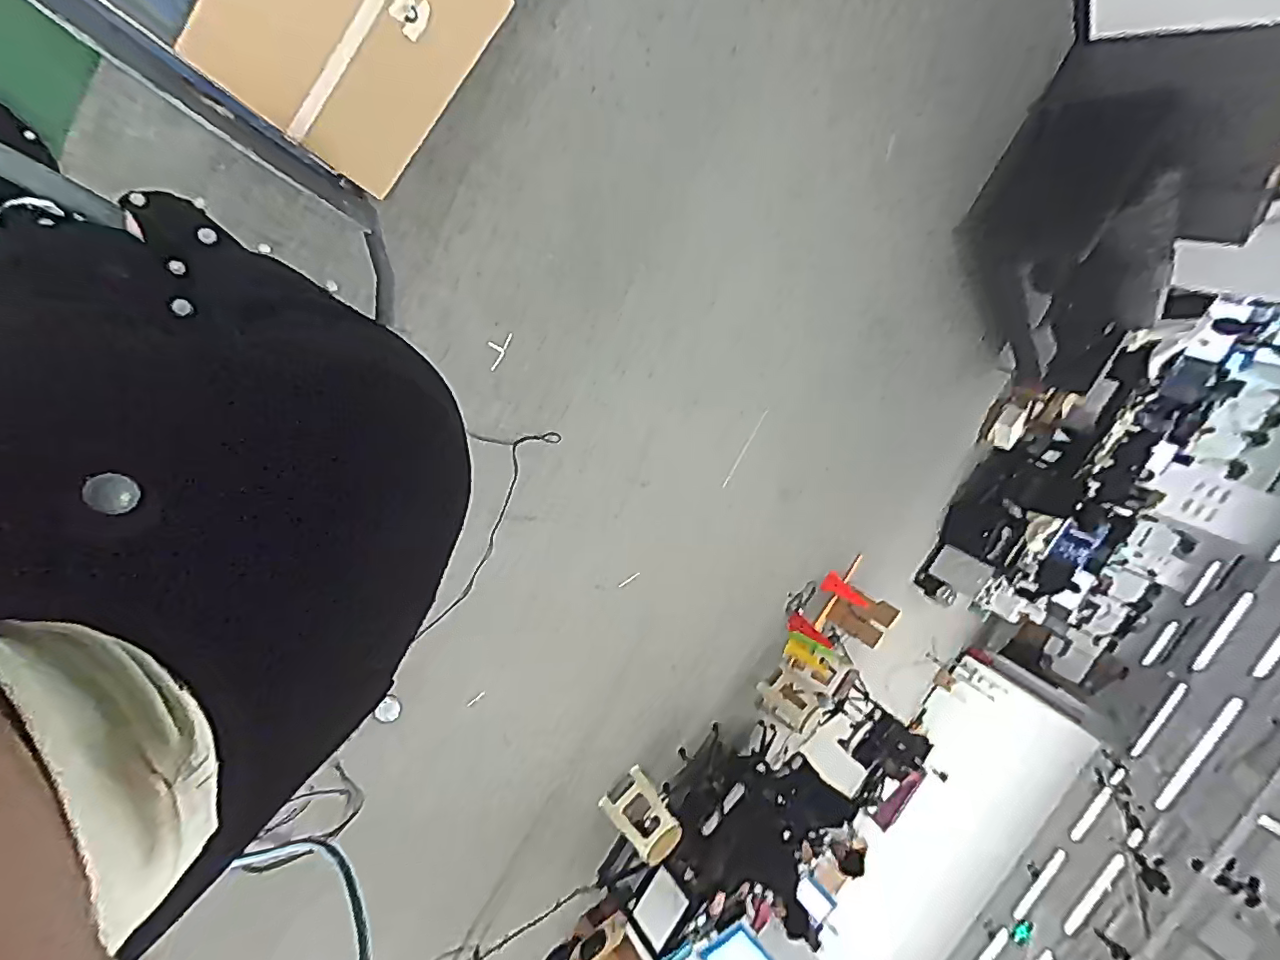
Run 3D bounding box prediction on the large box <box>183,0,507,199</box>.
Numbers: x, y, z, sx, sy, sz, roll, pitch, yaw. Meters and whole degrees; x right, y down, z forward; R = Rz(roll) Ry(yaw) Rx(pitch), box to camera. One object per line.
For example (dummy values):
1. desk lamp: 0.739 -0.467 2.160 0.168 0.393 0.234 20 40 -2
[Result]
1. large box: -0.507 -0.792 0.928 0.408 0.320 0.320 -47 142 14
